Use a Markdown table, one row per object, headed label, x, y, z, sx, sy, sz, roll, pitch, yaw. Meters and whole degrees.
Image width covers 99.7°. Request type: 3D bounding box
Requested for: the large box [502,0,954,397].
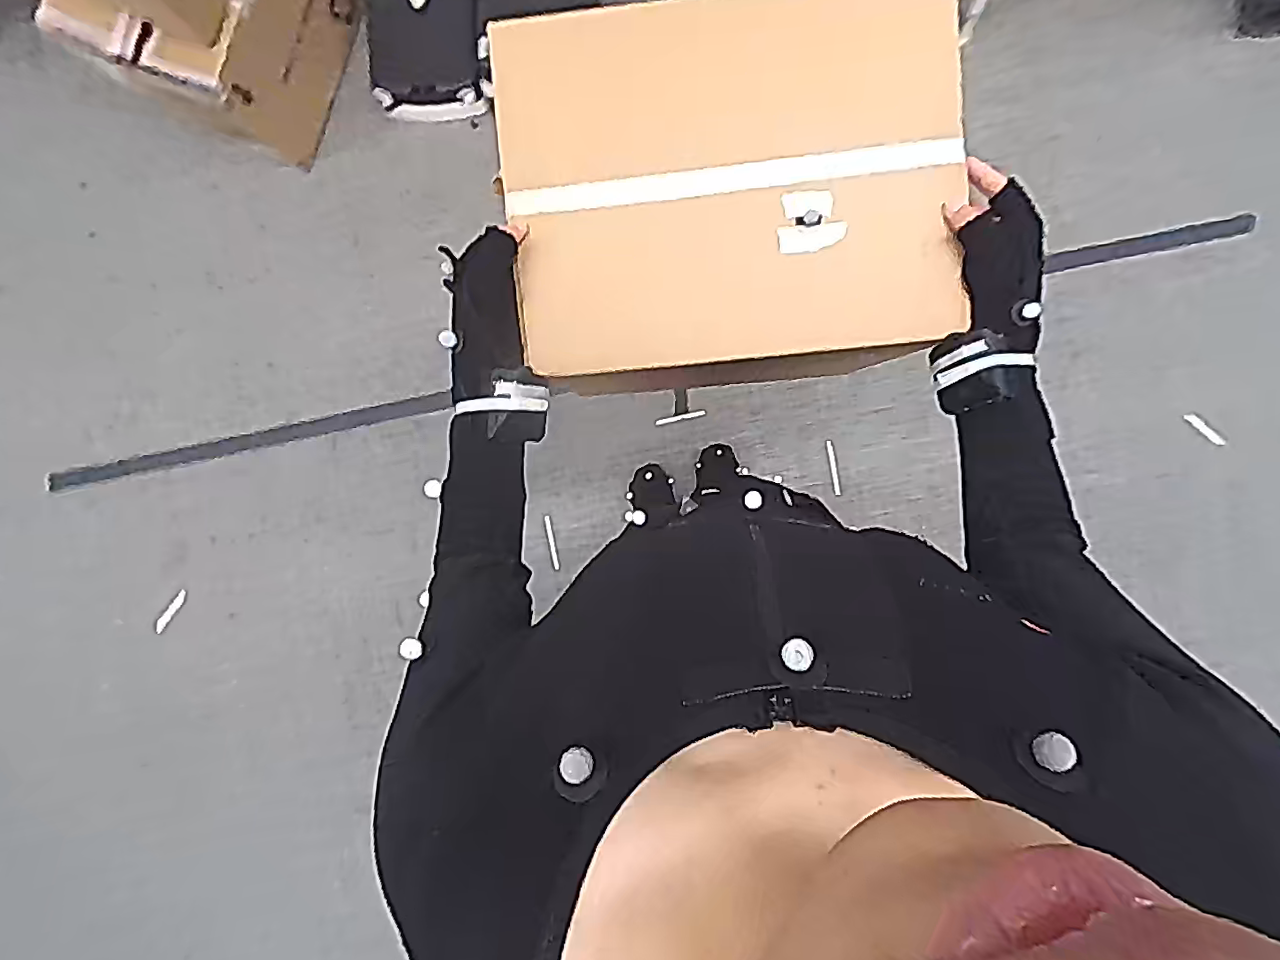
| label | x | y | z | sx | sy | sz | roll | pitch | yaw |
| --- | --- | --- | --- | --- | --- | --- | --- | --- | --- |
| large box | 0.087 | -0.283 | 0.650 | 0.408 | 0.320 | 0.320 | -5 | 95 | 3 |
